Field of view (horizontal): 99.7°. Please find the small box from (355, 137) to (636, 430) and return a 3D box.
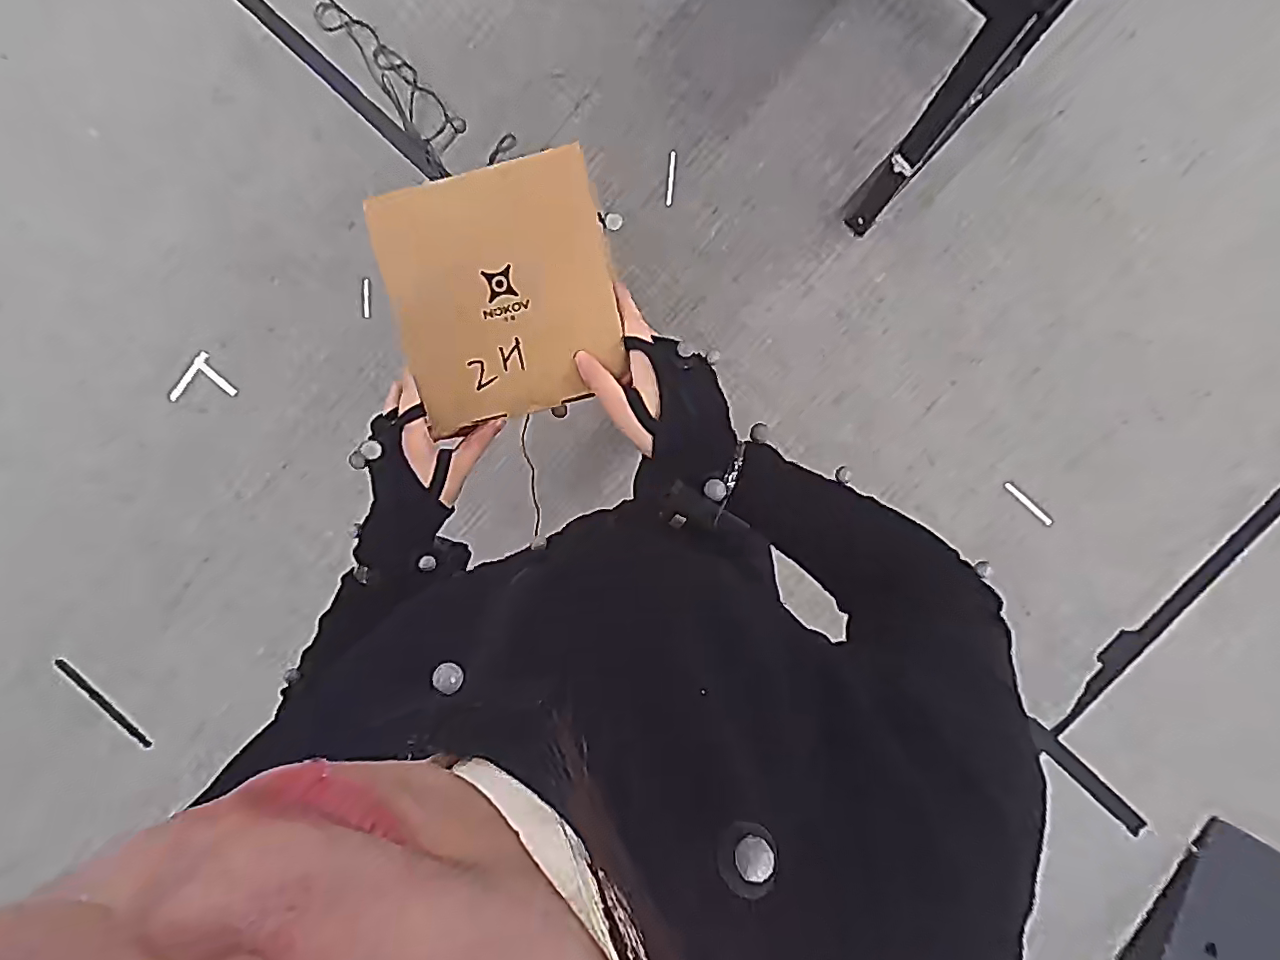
[{"bbox_3d":[-0.102,-0.153,0.469,0.168,0.176,0.179,-13,102,5],"label":"small box"}]
